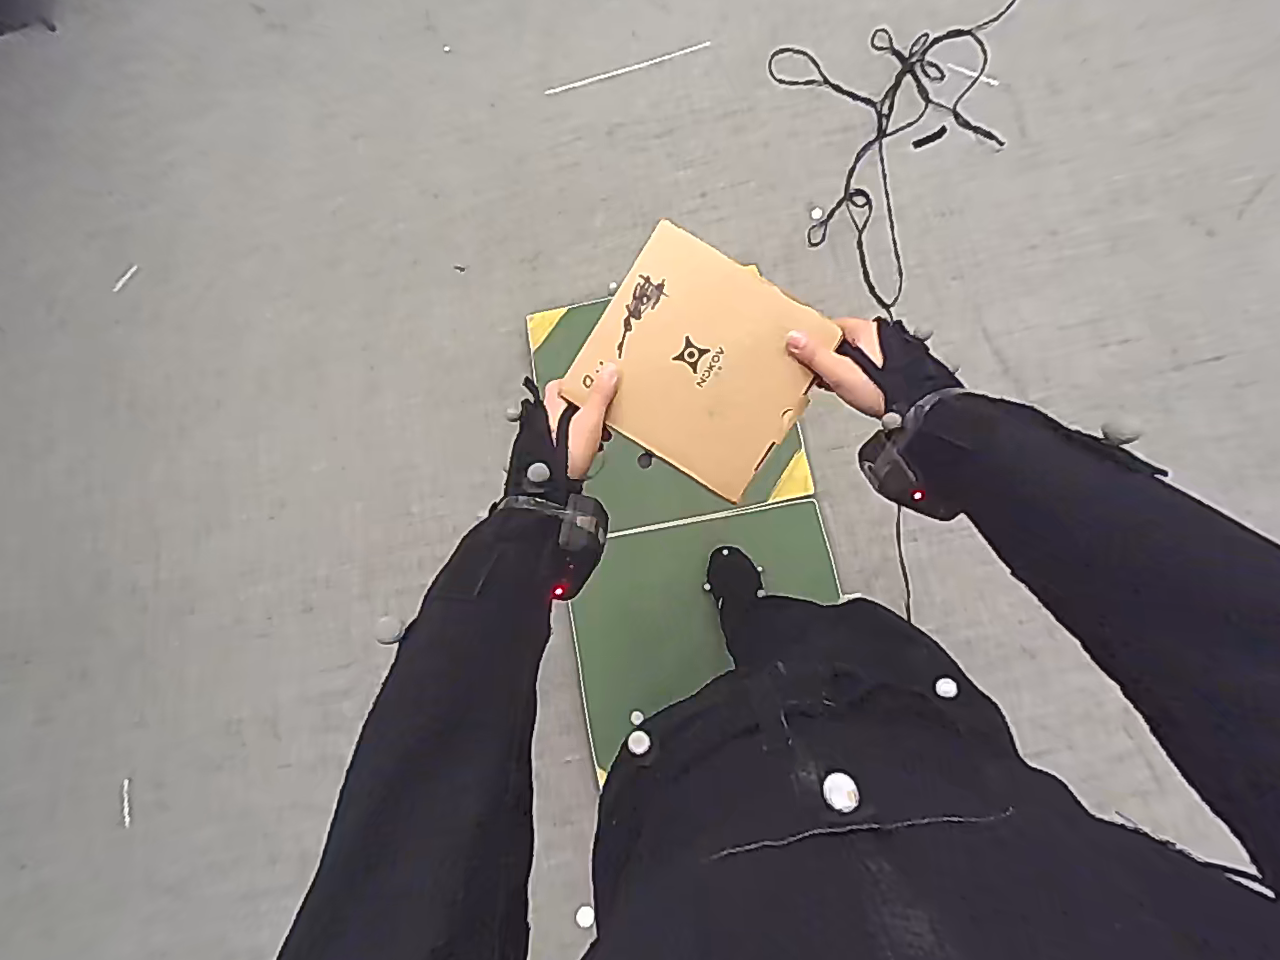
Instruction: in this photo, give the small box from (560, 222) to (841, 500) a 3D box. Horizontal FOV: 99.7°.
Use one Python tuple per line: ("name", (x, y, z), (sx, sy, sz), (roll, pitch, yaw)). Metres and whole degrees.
("small box", (0.051, -0.100, 0.520), (0.179, 0.176, 0.168), (33, 92, 1))
